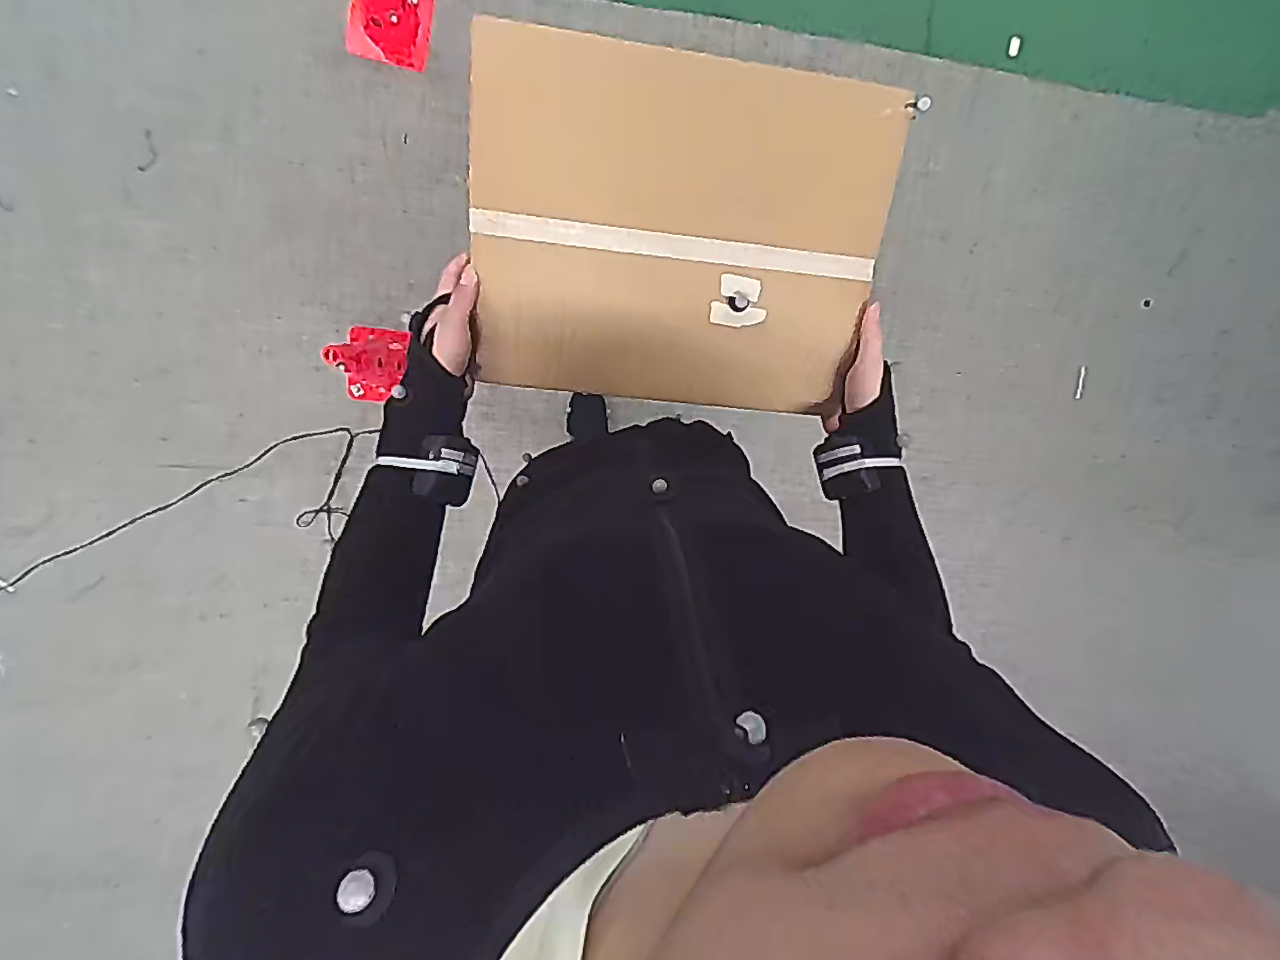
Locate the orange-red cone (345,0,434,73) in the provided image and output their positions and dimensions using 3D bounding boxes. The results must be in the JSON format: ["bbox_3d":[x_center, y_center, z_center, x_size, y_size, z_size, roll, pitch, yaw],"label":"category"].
[{"bbox_3d":[-0.624,-1.145,1.216,0.199,0.360,0.198,11,95,-7],"label":"orange-red cone"}]

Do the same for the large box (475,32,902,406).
[{"bbox_3d":[0.026,-0.290,0.680,0.408,0.320,0.320,4,112,-7],"label":"large box"}]
